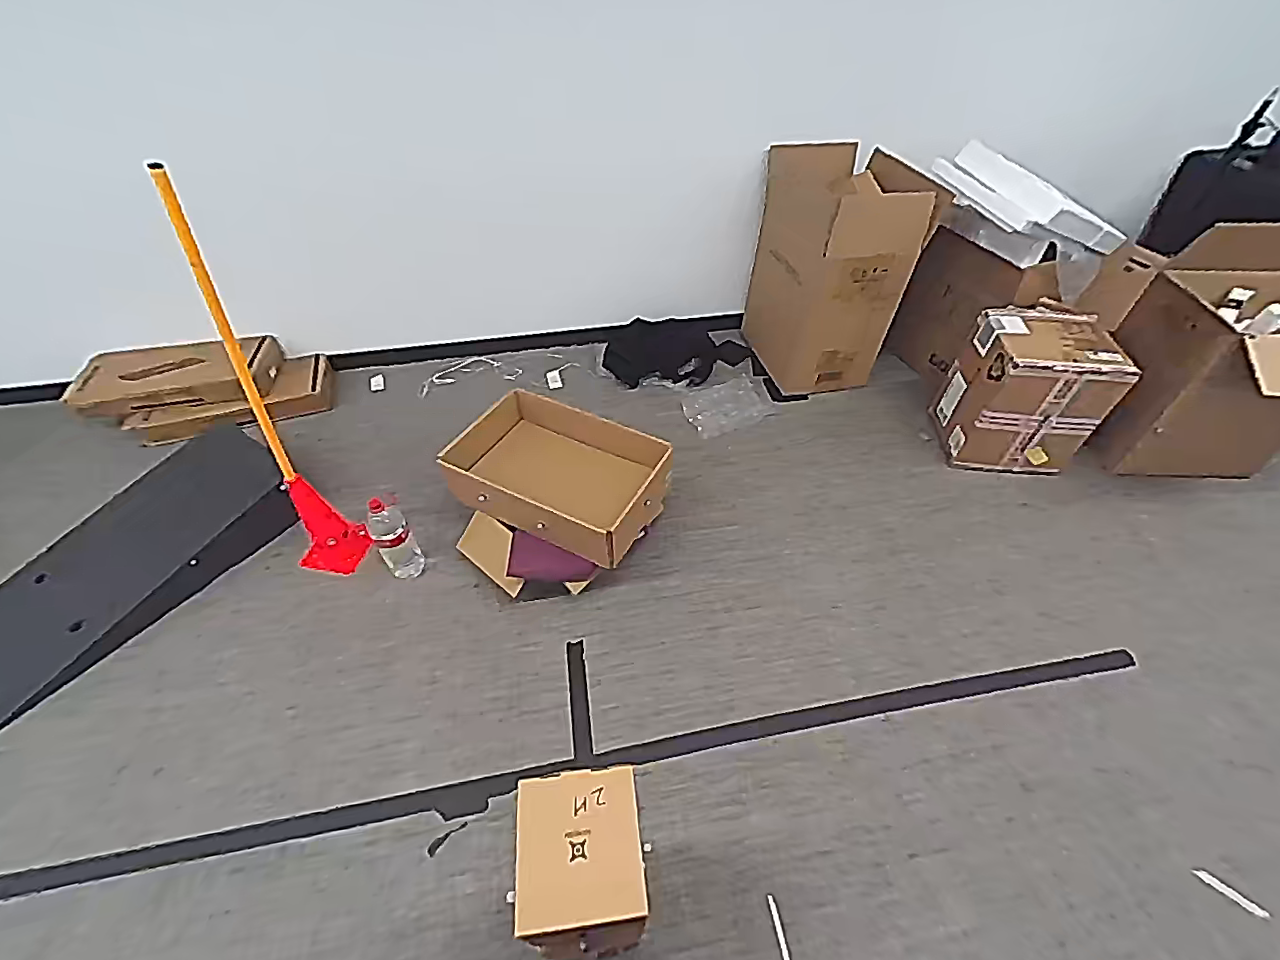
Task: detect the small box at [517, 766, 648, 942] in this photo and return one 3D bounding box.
[{"bbox_3d":[-0.078,0.537,0.774,0.168,0.176,0.179,-5,46,-5],"label":"small box"}]

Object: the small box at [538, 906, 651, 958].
[{"bbox_3d":[-0.081,0.653,0.892,0.168,0.176,0.179,-9,47,-8],"label":"small box"}]

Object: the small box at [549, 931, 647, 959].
[{"bbox_3d":[-0.086,0.768,1.010,0.168,0.176,0.179,-9,46,-8],"label":"small box"}]
